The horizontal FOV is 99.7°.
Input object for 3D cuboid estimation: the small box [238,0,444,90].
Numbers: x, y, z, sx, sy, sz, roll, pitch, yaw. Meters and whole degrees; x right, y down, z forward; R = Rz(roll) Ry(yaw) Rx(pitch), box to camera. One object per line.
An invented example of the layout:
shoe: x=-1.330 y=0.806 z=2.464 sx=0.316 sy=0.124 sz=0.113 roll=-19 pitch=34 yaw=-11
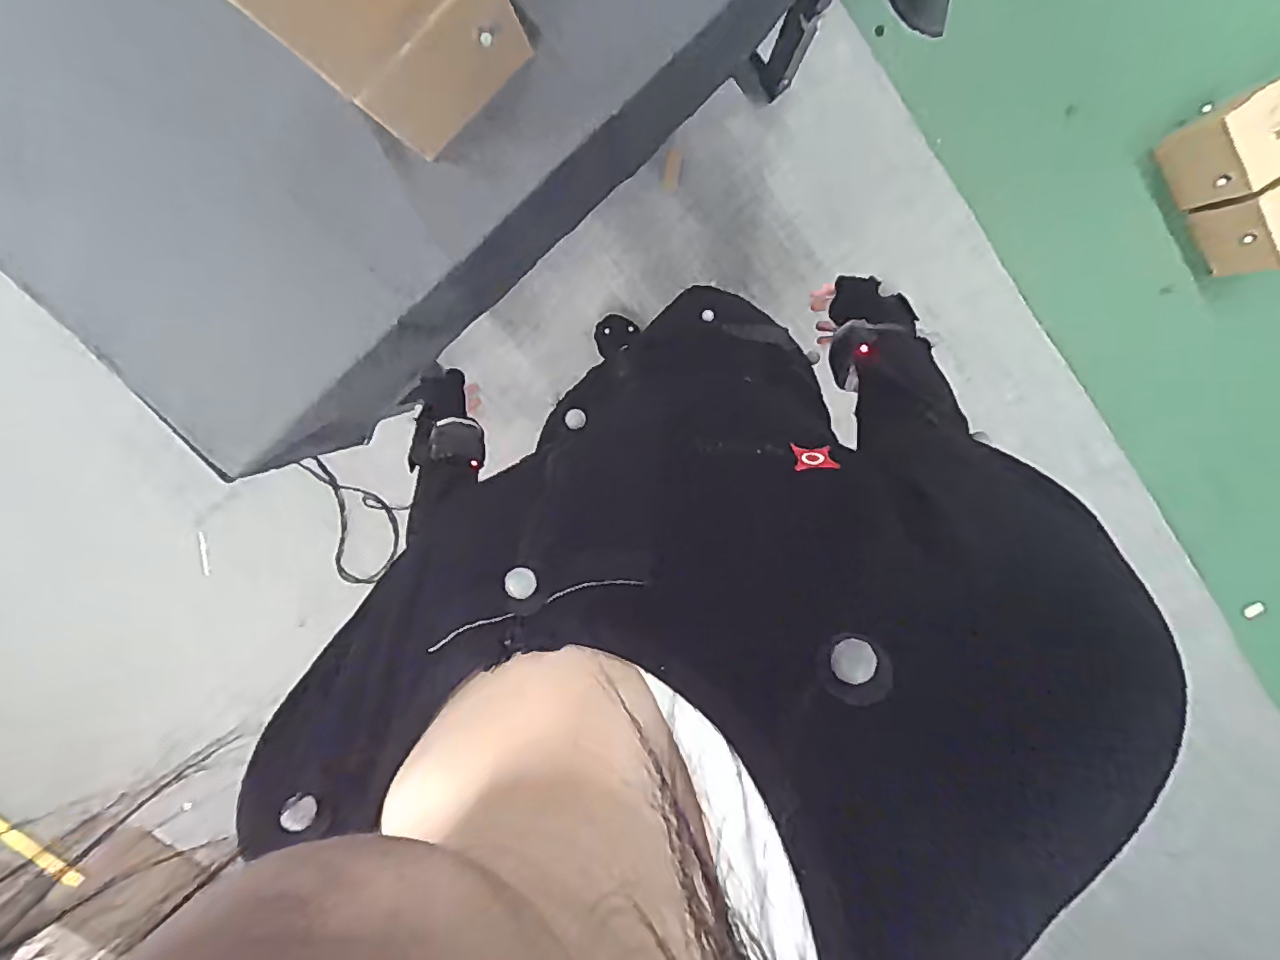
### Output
small box: x=-0.250 y=-0.447 z=0.394 sx=0.179 sy=0.176 sz=0.168 roll=-39 pitch=100 yaw=11
